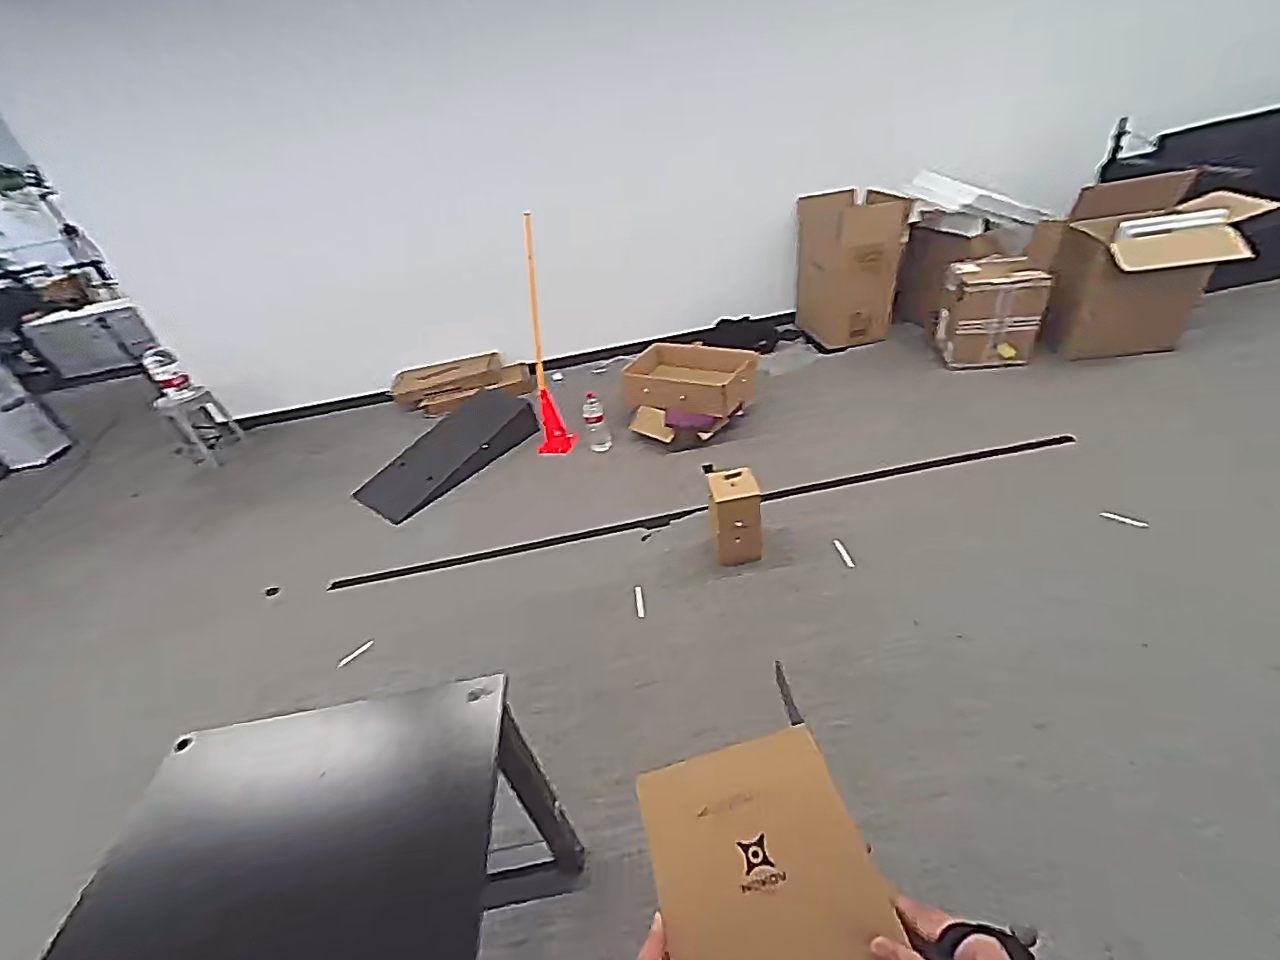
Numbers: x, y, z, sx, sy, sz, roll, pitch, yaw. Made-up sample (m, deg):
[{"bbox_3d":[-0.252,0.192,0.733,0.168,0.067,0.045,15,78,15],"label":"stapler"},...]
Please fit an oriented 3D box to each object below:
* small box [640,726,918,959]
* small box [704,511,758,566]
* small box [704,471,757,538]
[{"bbox_3d":[0.108,0.356,0.473,0.168,0.176,0.179,-15,40,-4],"label":"small box"},{"bbox_3d":[0.359,0.221,2.132,0.179,0.176,0.168,-10,36,0],"label":"small box"},{"bbox_3d":[0.338,0.092,2.032,0.168,0.176,0.179,-10,36,0],"label":"small box"}]
